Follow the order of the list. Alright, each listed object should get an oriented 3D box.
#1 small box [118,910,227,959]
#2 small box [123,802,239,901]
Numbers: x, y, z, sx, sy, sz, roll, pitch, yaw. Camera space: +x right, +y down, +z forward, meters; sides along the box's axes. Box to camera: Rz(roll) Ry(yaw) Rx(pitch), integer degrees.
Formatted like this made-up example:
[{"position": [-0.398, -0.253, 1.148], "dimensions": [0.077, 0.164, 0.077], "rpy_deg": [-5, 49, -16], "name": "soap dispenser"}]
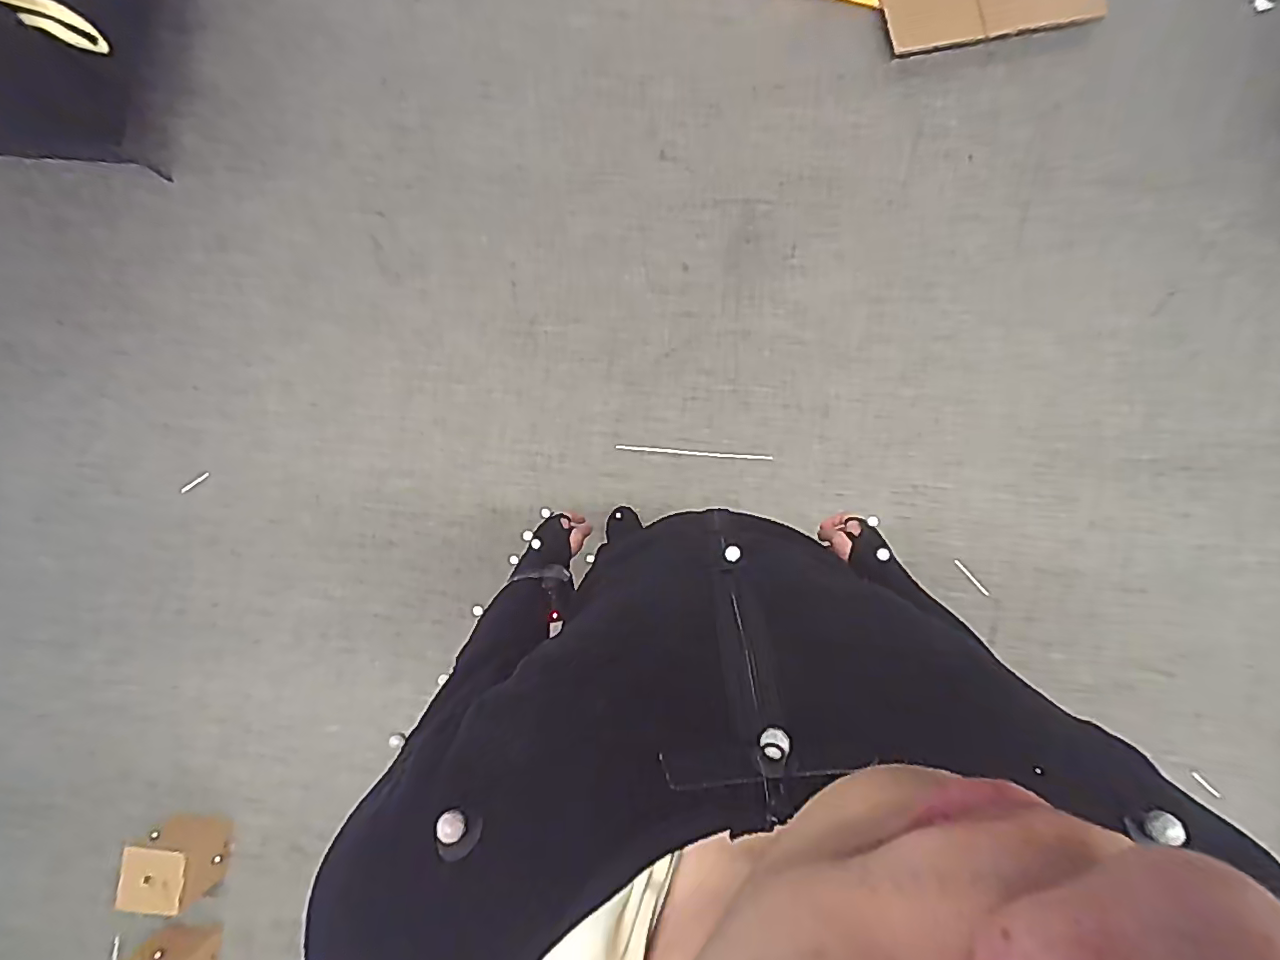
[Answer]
[{"position": [-1.335, 1.372, 1.540], "dimensions": [0.179, 0.176, 0.168], "rpy_deg": [4, 87, 1], "name": "small box"}, {"position": [-1.314, 1.059, 1.556], "dimensions": [0.179, 0.176, 0.168], "rpy_deg": [7, 87, 2], "name": "small box"}]
